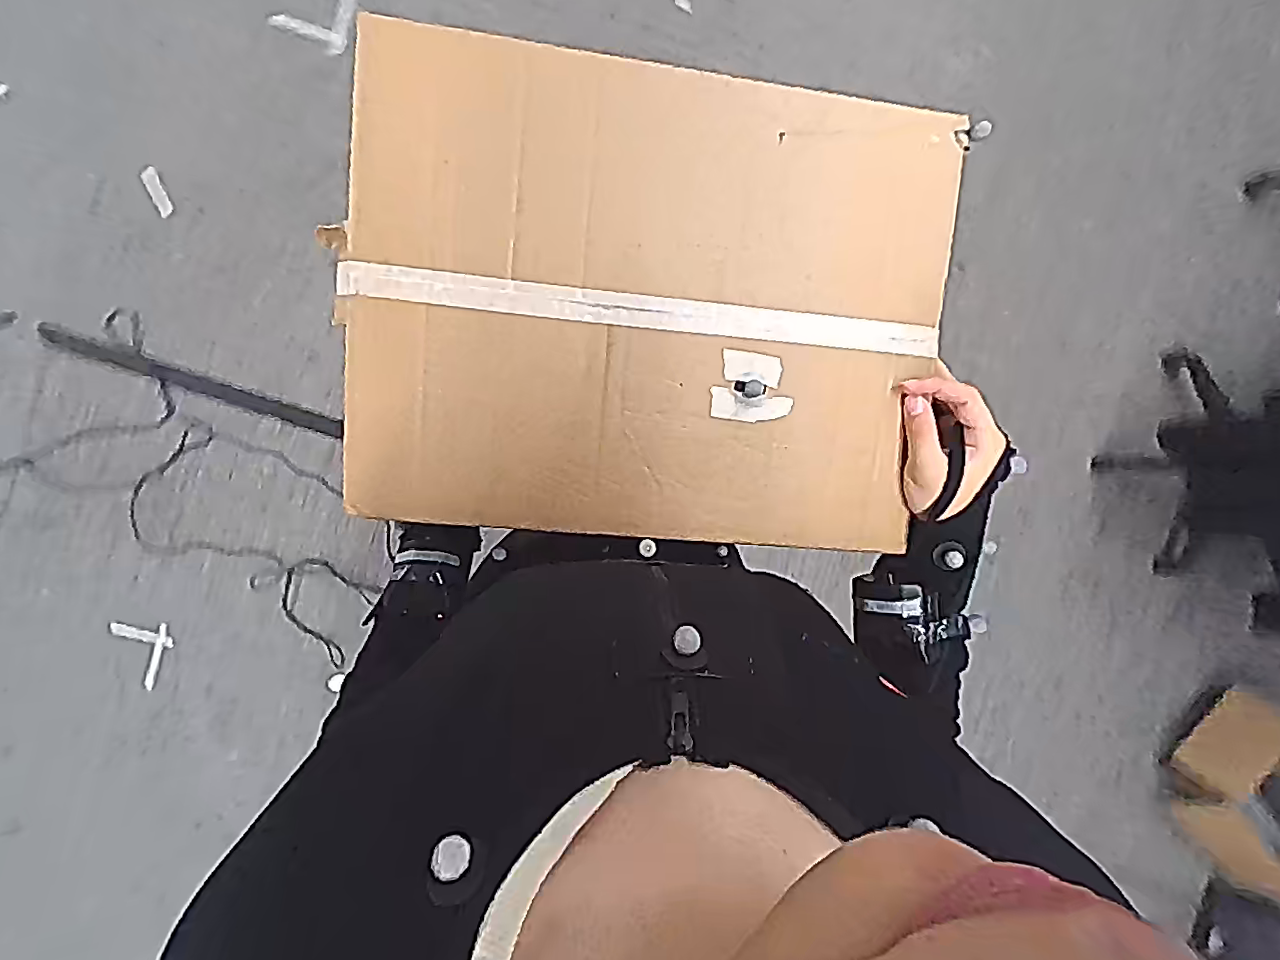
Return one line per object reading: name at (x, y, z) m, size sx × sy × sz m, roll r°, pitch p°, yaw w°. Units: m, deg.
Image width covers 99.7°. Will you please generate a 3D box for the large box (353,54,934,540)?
large box at (-0.011, -0.127, 0.525) m, size 0.408 × 0.320 × 0.320 m, roll 2°, pitch 97°, yaw -8°
